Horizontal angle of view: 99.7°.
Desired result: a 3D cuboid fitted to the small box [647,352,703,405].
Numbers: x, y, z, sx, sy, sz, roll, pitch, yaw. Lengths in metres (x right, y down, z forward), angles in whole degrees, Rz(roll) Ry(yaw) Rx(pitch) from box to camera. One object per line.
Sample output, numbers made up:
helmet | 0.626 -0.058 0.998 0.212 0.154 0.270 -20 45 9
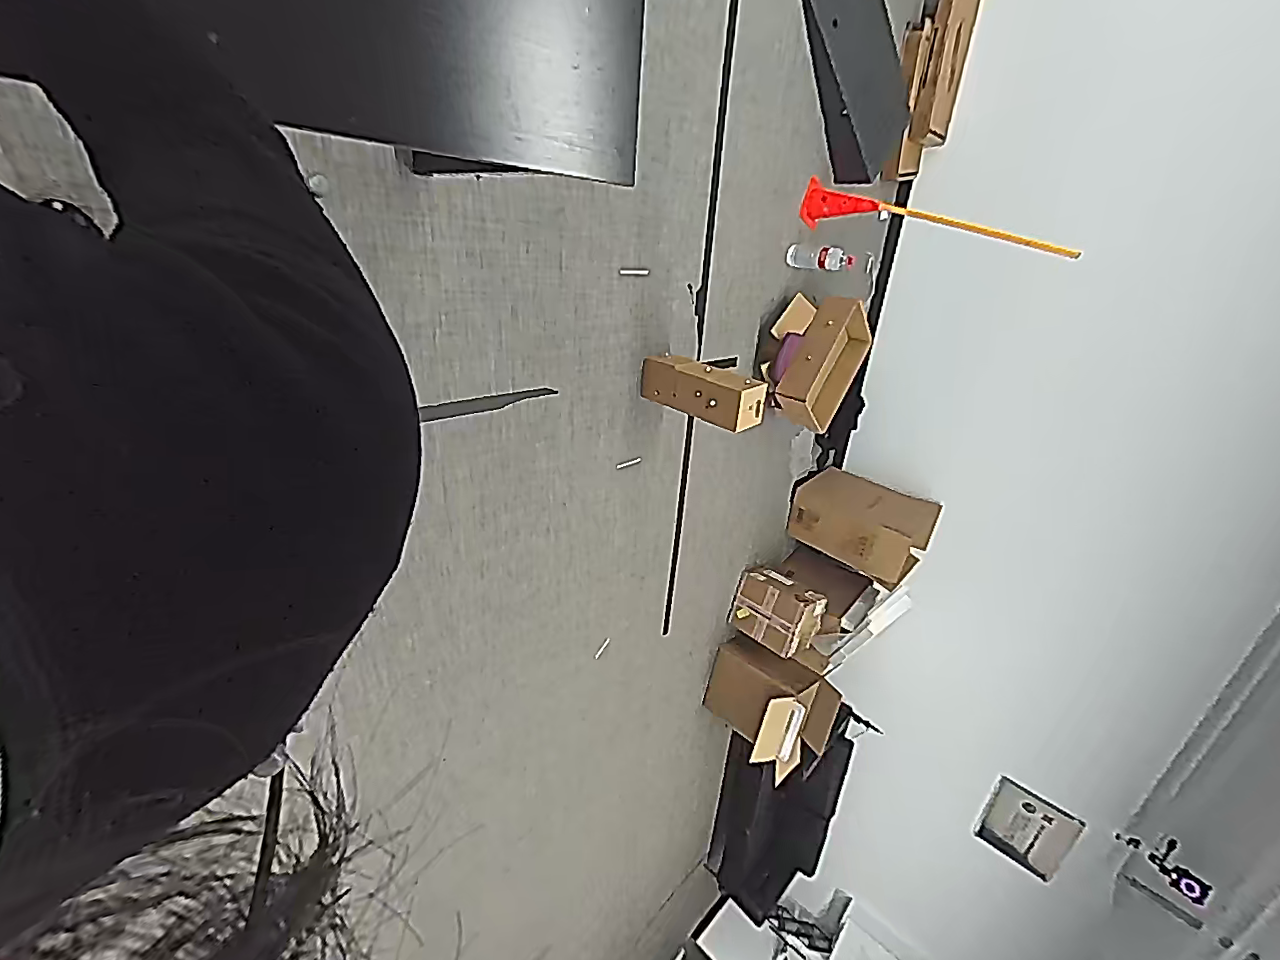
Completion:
small box | 0.143 -0.430 2.271 0.168 0.176 0.179 -22 125 -43

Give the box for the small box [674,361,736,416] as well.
small box | 0.260 -0.372 2.171 0.179 0.176 0.168 -24 127 -42

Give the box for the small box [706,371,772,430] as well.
small box | 0.378 -0.312 2.073 0.179 0.176 0.168 -22 126 -41
